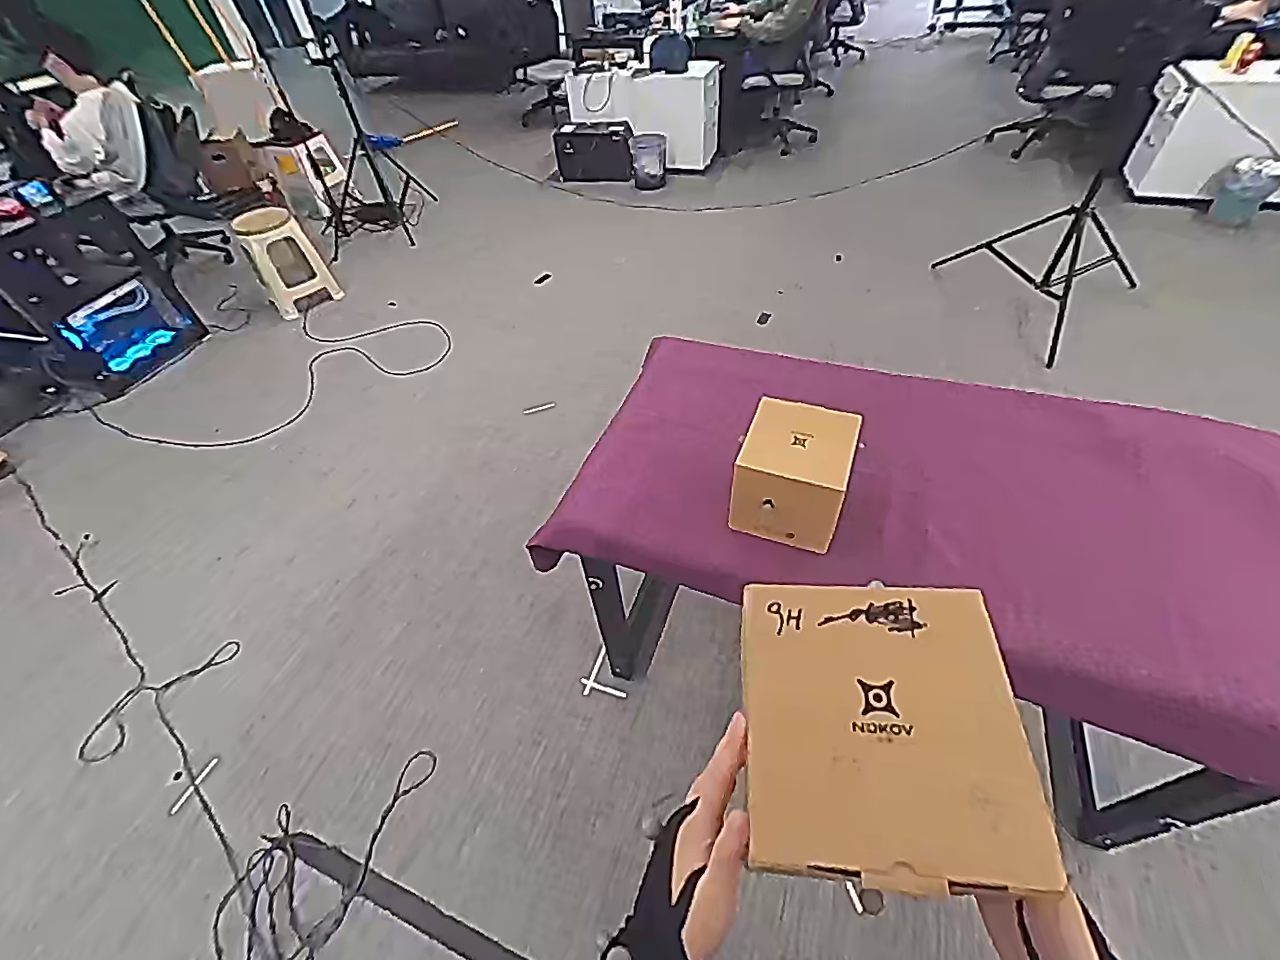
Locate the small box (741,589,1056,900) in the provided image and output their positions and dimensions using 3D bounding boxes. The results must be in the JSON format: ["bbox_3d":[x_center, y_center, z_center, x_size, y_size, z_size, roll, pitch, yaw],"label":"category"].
[{"bbox_3d":[0.164,0.199,0.414,0.168,0.176,0.179,0,54,9],"label":"small box"}]

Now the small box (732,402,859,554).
[{"bbox_3d":[0.258,-0.001,0.916,0.168,0.176,0.179,15,50,18],"label":"small box"}]
